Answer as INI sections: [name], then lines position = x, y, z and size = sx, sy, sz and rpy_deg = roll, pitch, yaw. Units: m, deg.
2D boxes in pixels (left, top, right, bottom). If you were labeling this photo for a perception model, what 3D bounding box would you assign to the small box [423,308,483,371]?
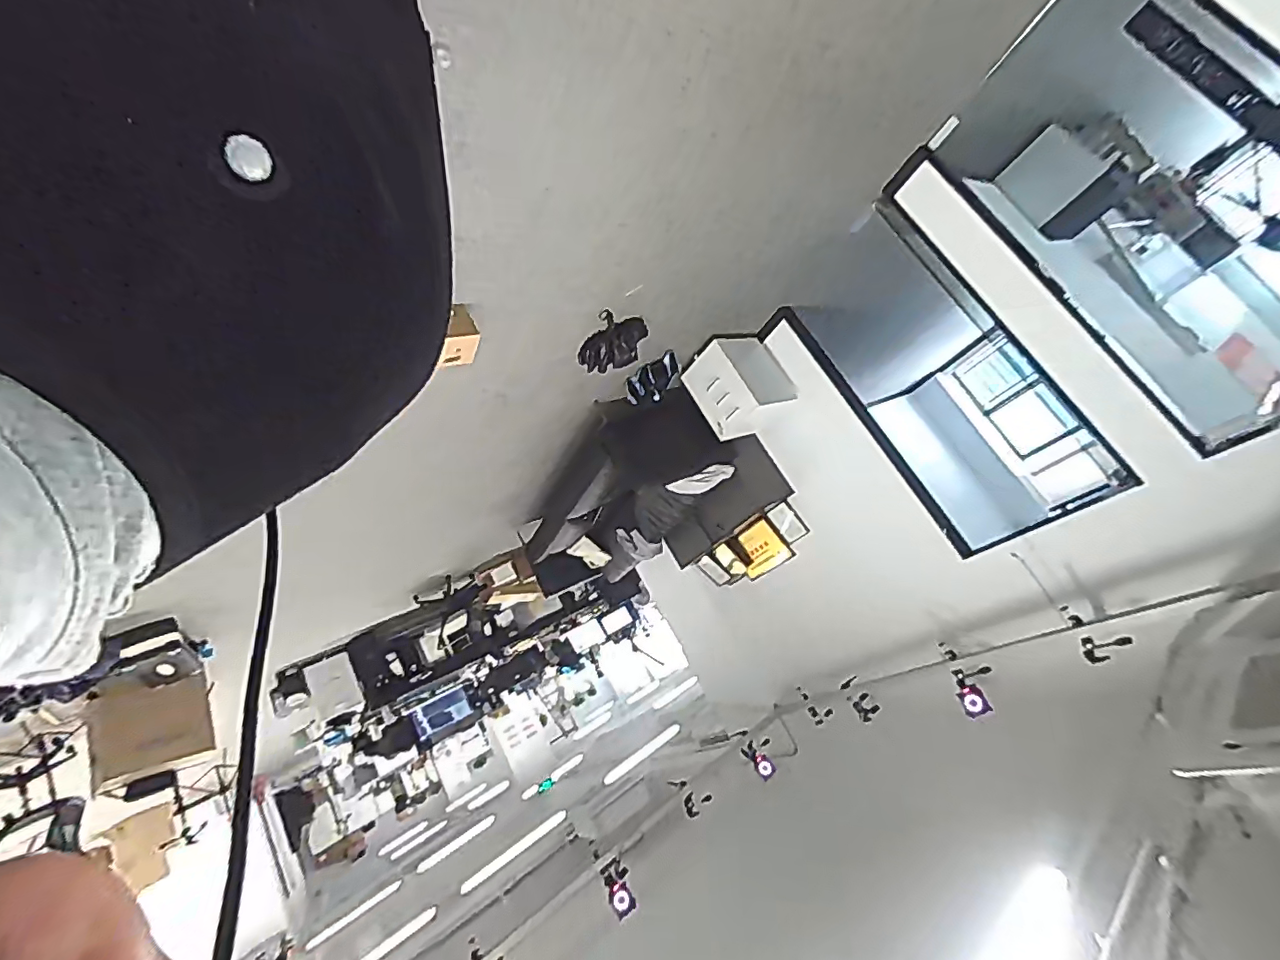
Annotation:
[small box]
position = -0.761, -0.569, 2.186
size = 0.168, 0.176, 0.179
rpy_deg = -20, 162, -36
